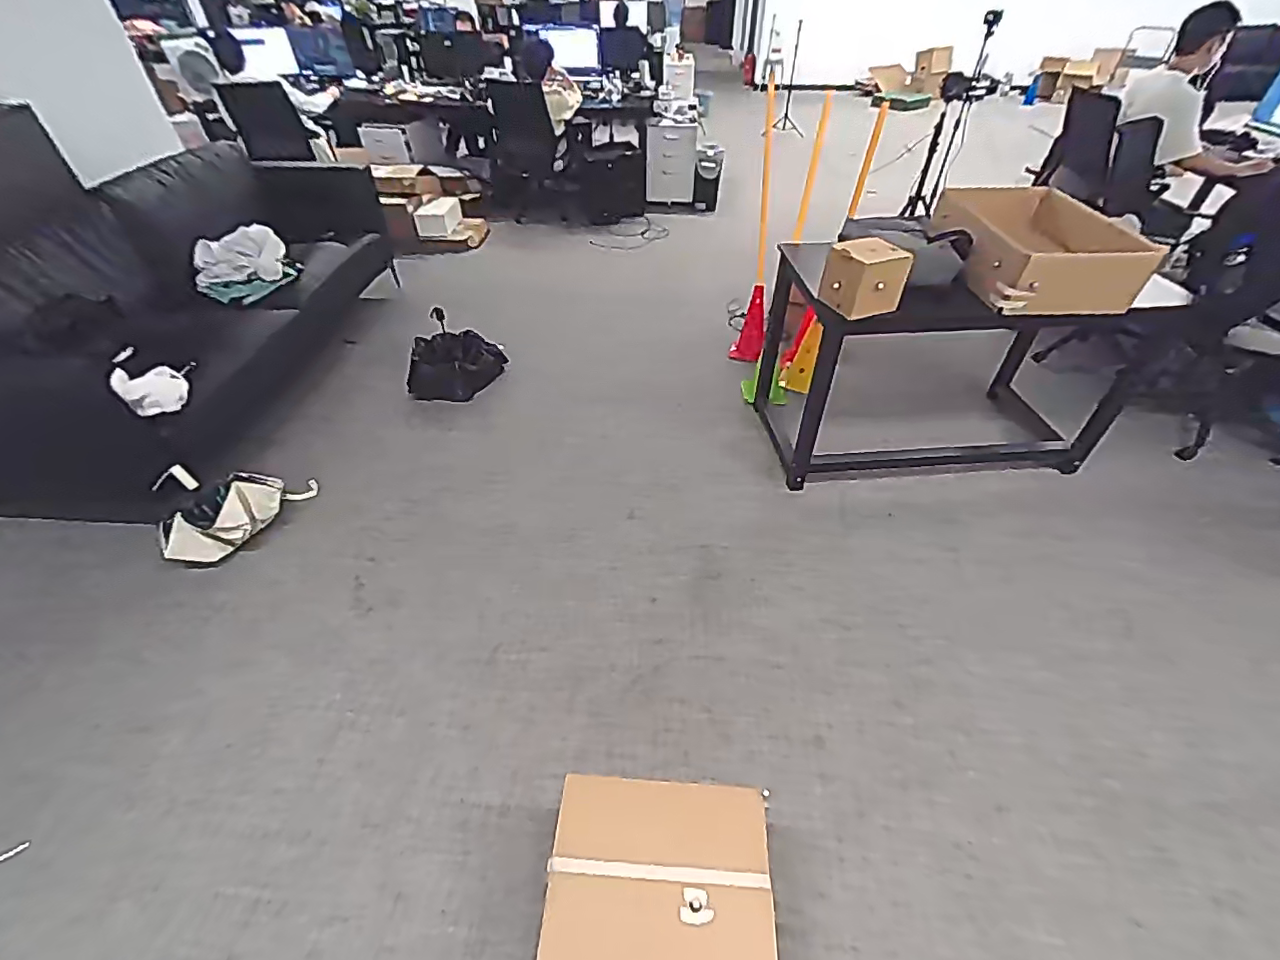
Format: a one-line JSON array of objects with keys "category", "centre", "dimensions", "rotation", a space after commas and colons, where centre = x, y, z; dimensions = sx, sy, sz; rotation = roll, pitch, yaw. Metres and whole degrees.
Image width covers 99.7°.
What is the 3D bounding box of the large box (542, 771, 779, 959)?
[{"category": "large box", "centre": [0.040, 0.821, 1.096], "dimensions": [0.408, 0.320, 0.320], "rotation": [2, 44, 3]}]
